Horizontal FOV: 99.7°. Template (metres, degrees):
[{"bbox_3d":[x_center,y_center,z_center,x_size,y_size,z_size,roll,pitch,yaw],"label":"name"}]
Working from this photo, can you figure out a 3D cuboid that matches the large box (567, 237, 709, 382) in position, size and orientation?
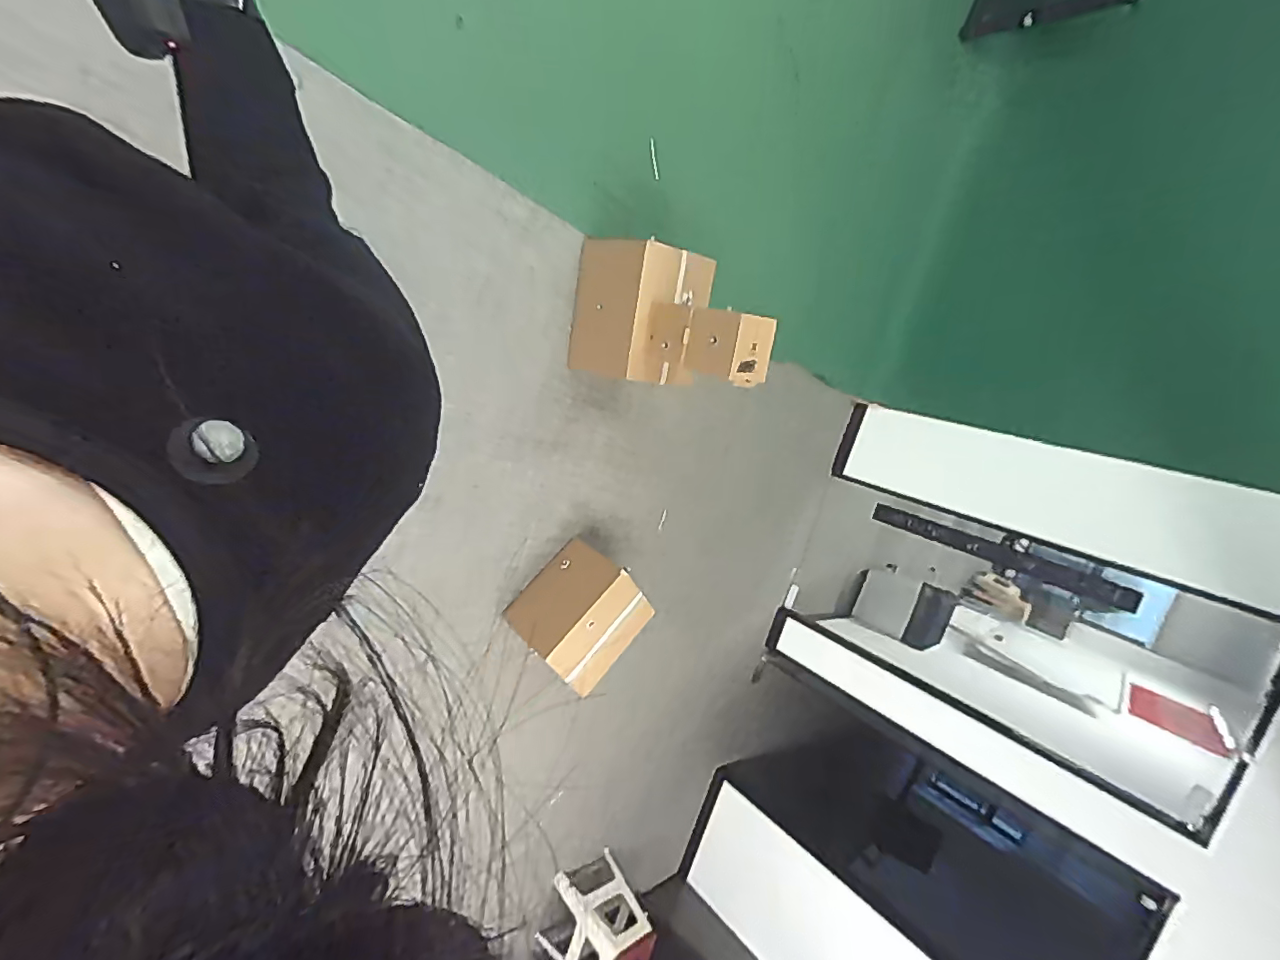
[{"bbox_3d":[-0.015,-0.546,1.770,0.320,0.320,0.408,-7,111,-44],"label":"large box"}]

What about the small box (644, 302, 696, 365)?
[{"bbox_3d":[0.133,-0.430,1.606,0.179,0.176,0.168,-5,112,-43],"label":"small box"}]

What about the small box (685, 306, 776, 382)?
[{"bbox_3d":[0.245,-0.377,1.498,0.168,0.176,0.179,-7,112,-43],"label":"small box"}]
